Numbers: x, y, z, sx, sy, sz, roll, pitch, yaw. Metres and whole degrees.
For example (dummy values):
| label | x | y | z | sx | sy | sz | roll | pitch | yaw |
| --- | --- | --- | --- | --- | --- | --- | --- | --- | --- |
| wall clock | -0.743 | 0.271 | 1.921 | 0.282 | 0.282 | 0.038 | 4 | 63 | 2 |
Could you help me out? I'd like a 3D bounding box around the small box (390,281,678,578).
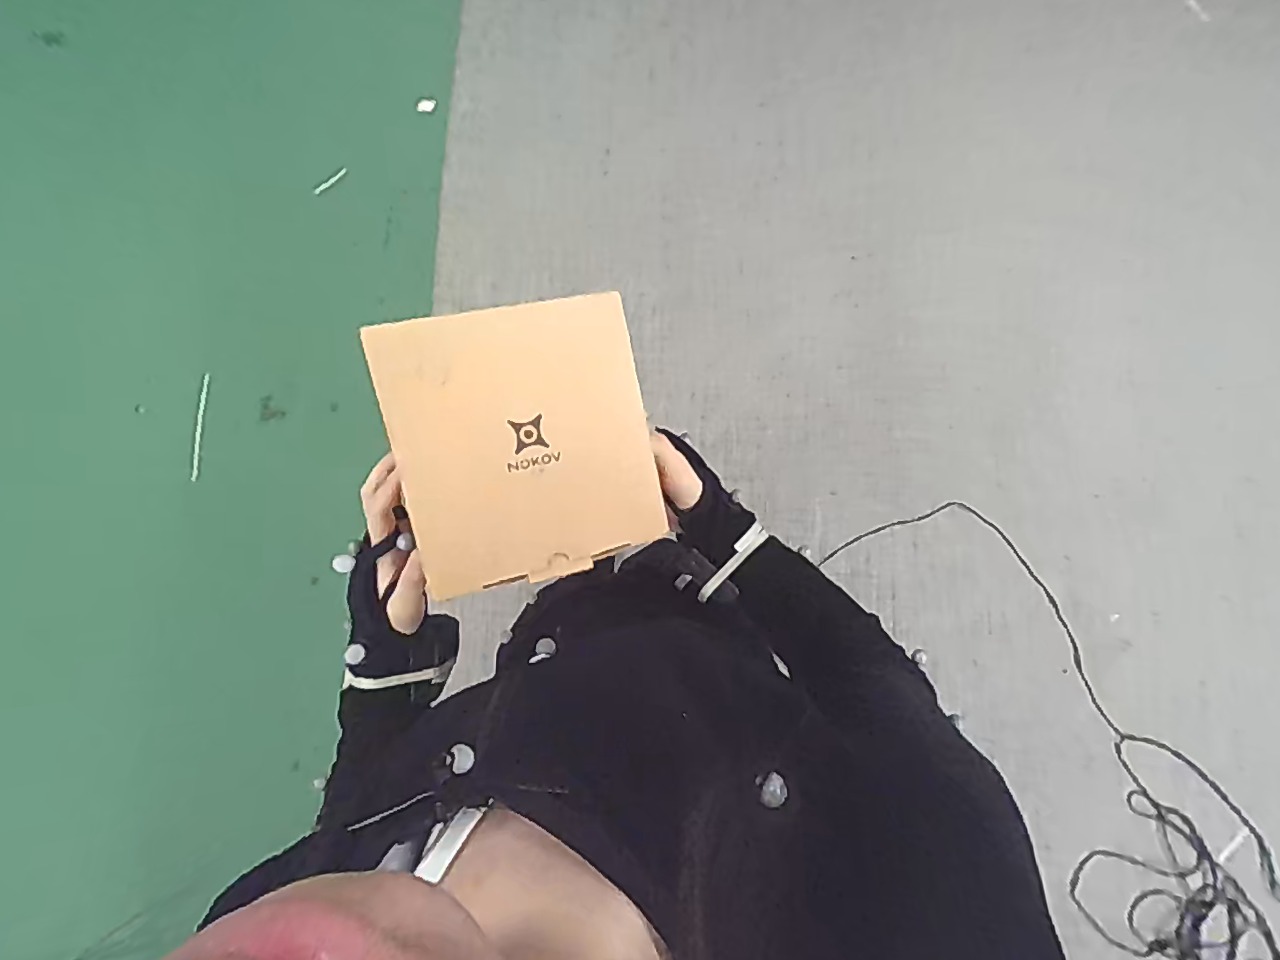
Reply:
| label | x | y | z | sx | sy | sz | roll | pitch | yaw |
| --- | --- | --- | --- | --- | --- | --- | --- | --- | --- |
| small box | -0.089 | -0.042 | 0.436 | 0.168 | 0.176 | 0.179 | -14 | 99 | -18 |
